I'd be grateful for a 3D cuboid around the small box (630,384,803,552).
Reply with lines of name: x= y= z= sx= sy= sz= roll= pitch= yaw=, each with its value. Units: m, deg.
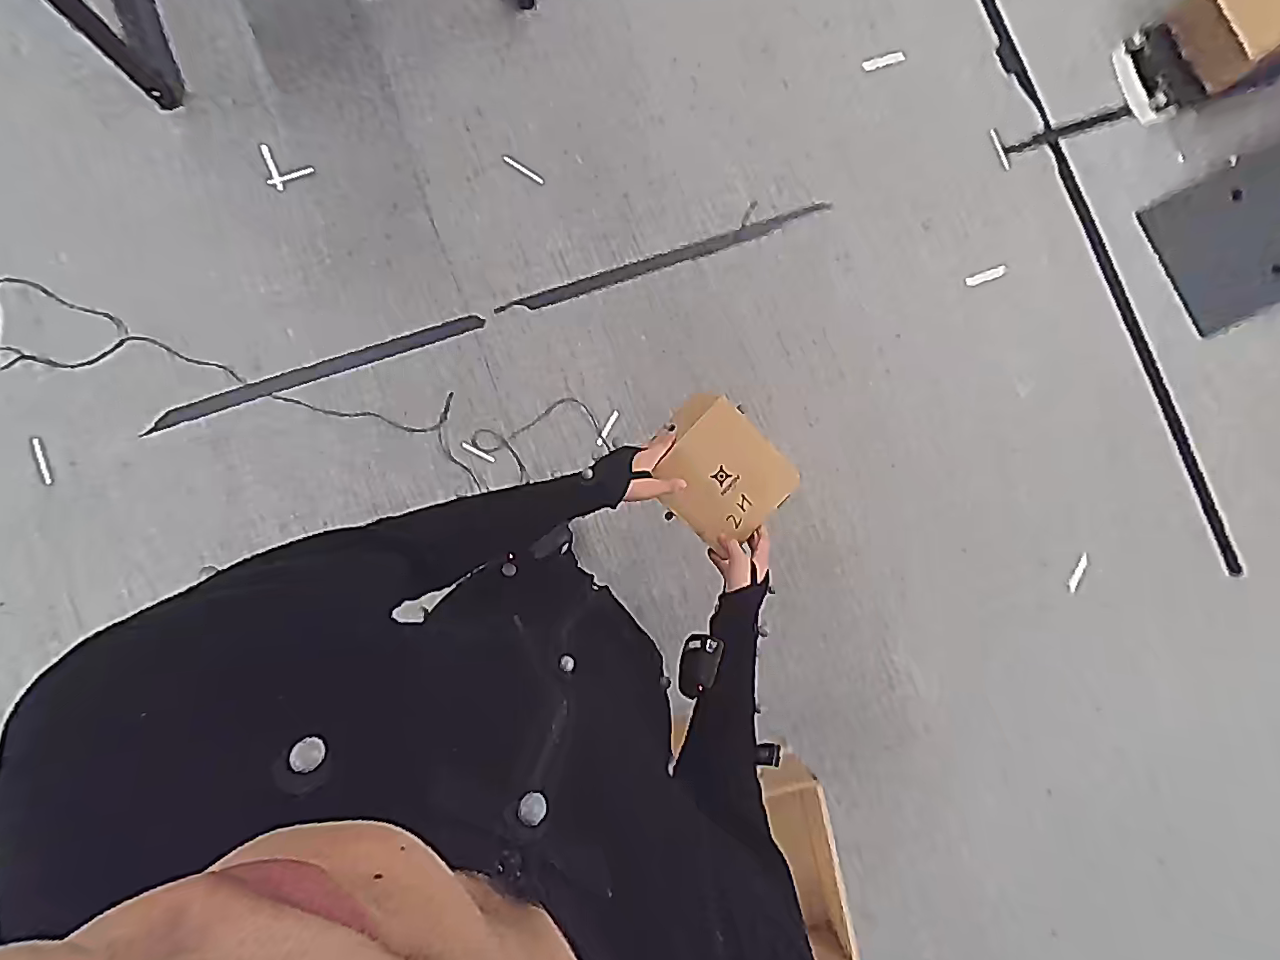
small box: x=0.101 y=-0.026 z=0.814 sx=0.179 sy=0.176 sz=0.168 roll=43 pitch=93 yaw=-12
